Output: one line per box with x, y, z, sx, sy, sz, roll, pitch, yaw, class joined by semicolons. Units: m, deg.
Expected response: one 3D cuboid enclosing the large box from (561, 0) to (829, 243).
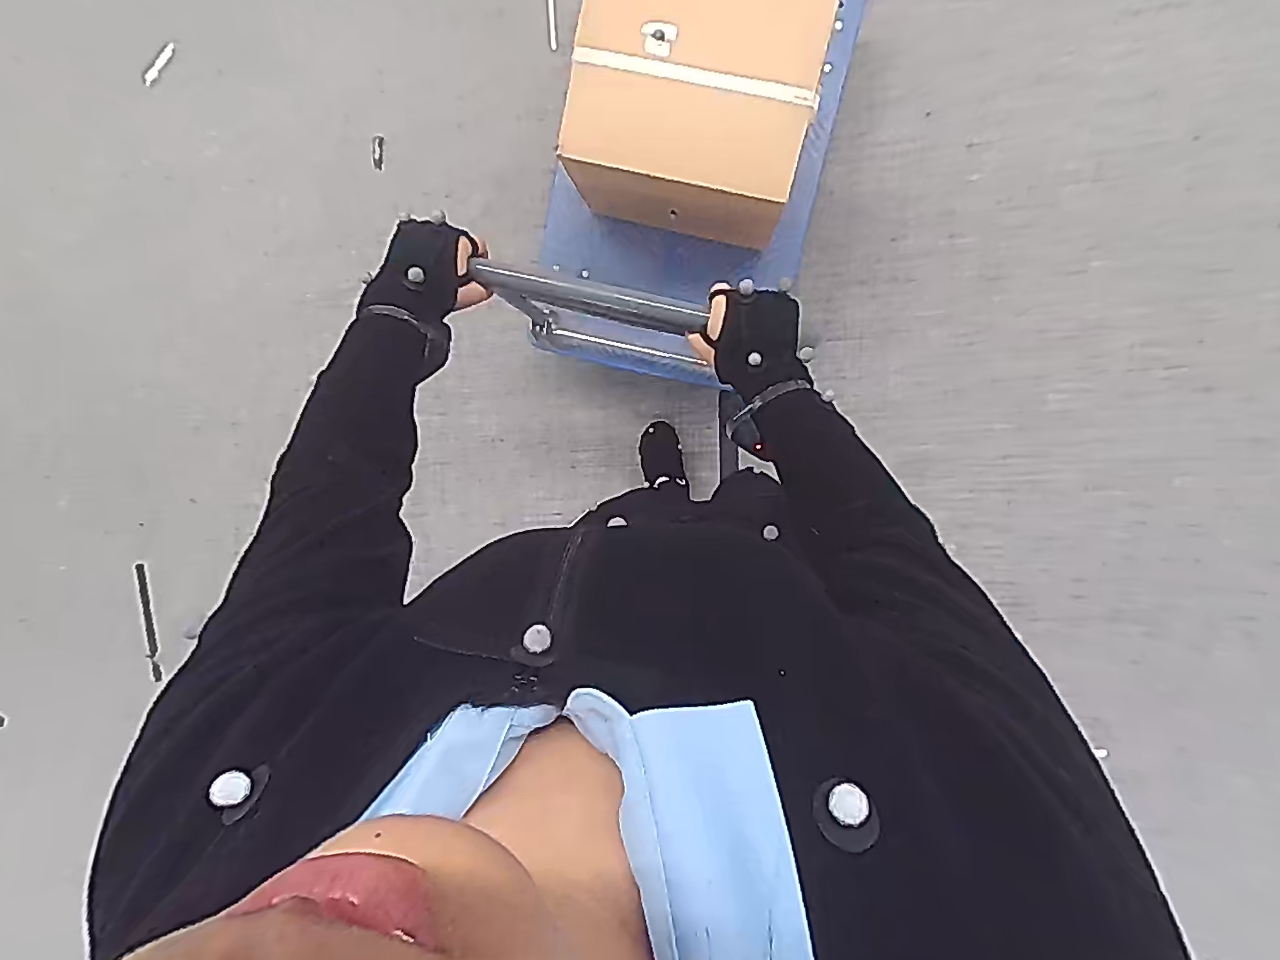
0.102;-0.689;1.054;0.408;0.320;0.320;14;99;5;large box
